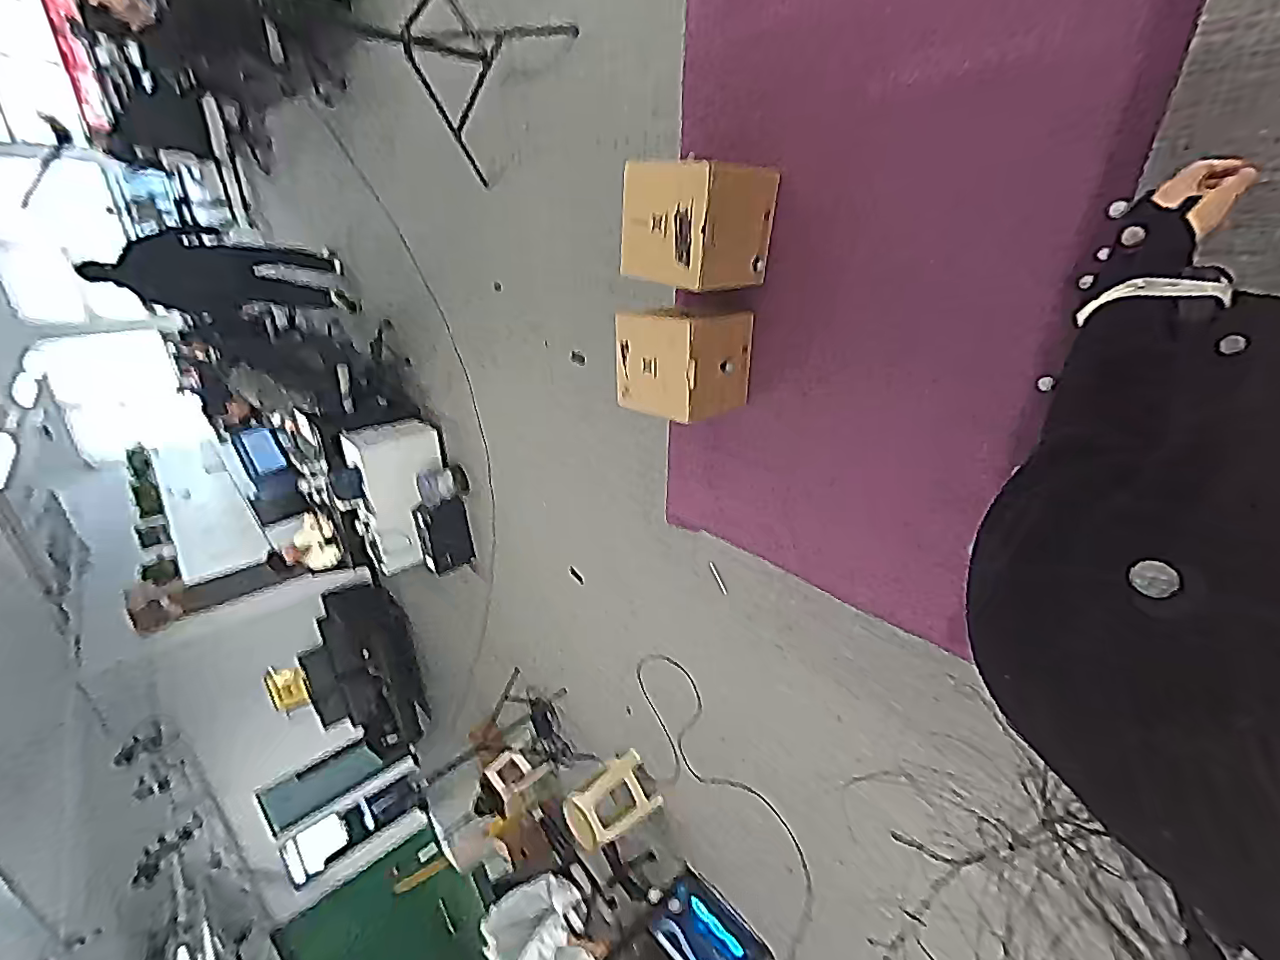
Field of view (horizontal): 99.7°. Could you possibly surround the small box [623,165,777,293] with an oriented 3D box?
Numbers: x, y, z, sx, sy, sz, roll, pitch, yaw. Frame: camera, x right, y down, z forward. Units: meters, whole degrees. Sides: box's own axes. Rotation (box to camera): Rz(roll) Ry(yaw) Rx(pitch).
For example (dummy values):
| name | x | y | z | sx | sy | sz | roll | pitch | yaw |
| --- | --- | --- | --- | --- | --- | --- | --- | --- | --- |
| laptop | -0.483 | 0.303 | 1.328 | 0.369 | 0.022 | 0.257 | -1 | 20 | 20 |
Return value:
| name | x | y | z | sx | sy | sz | roll | pitch | yaw |
| --- | --- | --- | --- | --- | --- | --- | --- | --- | --- |
| small box | 0.094 | -0.403 | 0.864 | 0.179 | 0.176 | 0.168 | 29 | 127 | 39 |
